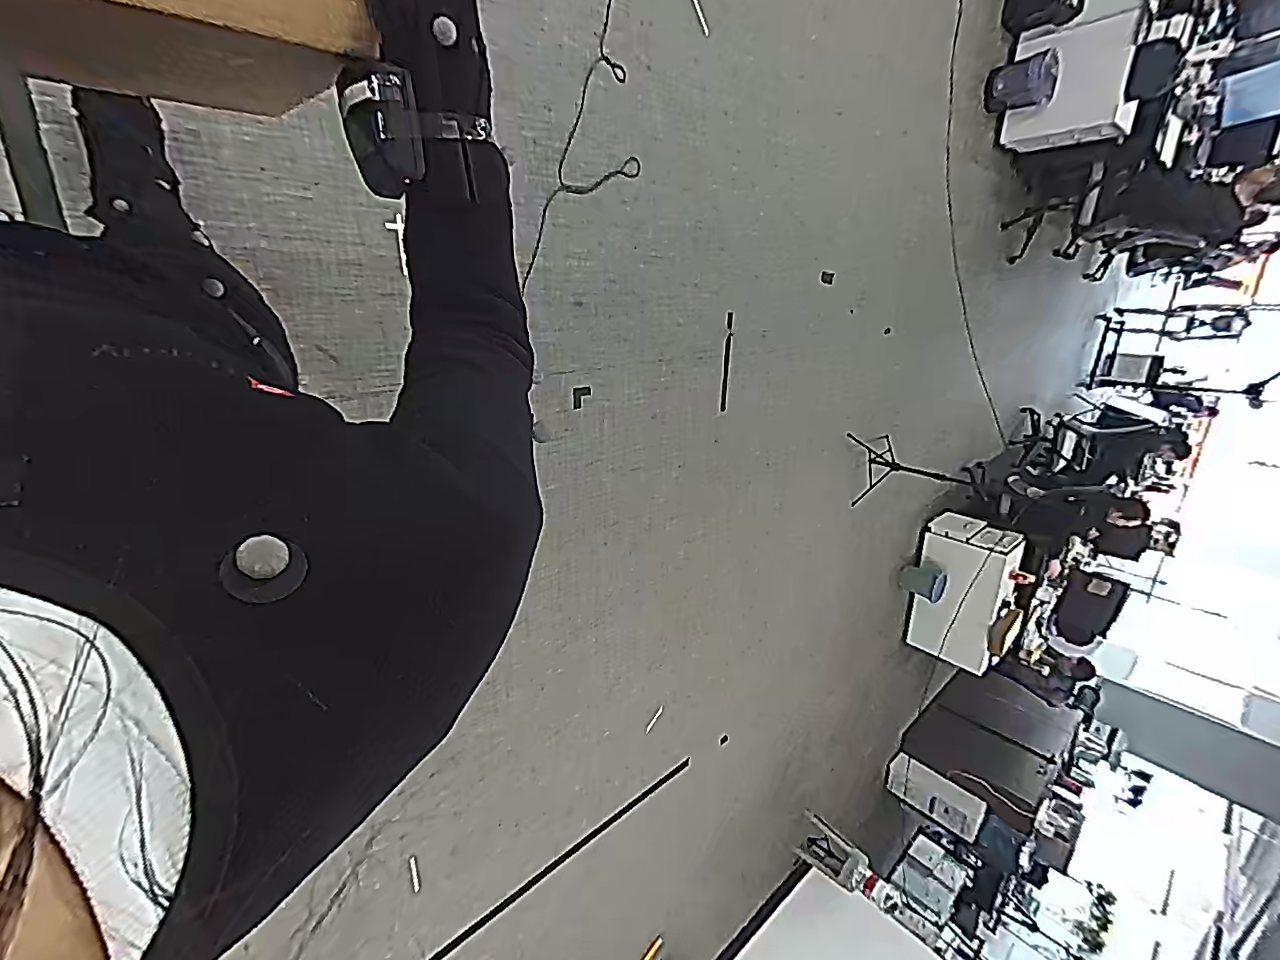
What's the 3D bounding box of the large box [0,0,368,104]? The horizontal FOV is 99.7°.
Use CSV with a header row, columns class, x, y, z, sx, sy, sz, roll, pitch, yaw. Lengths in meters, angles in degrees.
class,x,y,z,sx,sy,sz,roll,pitch,yaw
large box,-0.407,-0.404,0.247,0.408,0.320,0.320,-18,123,-38
